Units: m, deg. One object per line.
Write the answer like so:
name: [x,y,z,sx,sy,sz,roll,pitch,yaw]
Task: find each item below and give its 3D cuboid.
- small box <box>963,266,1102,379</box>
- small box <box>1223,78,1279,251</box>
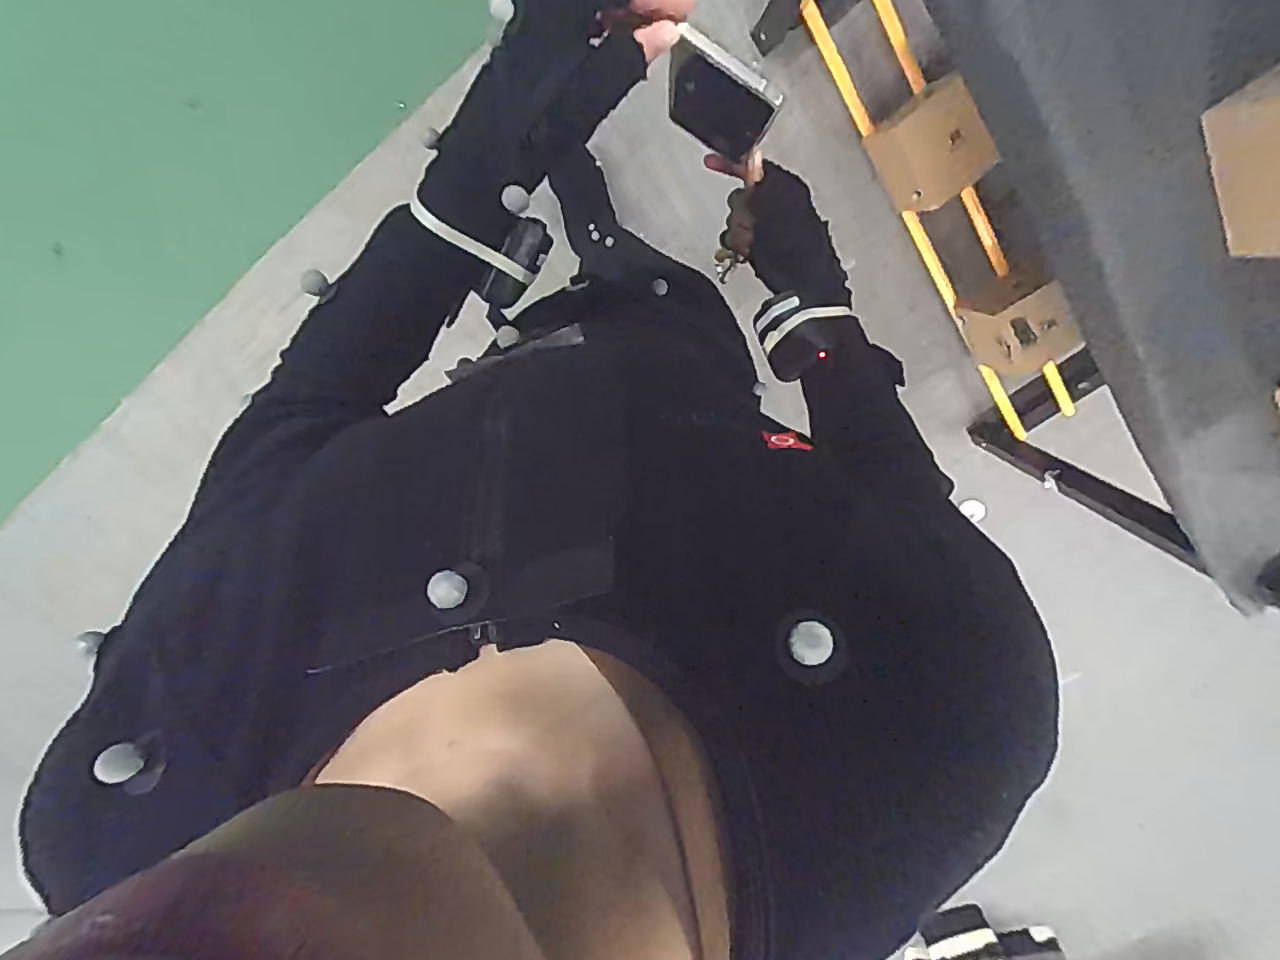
small box: [0.852,-0.352,1.195,0.179,0.176,0.168,-32,111,12]
small box: [0.730,-0.338,0.519,0.168,0.176,0.179,-32,111,12]
